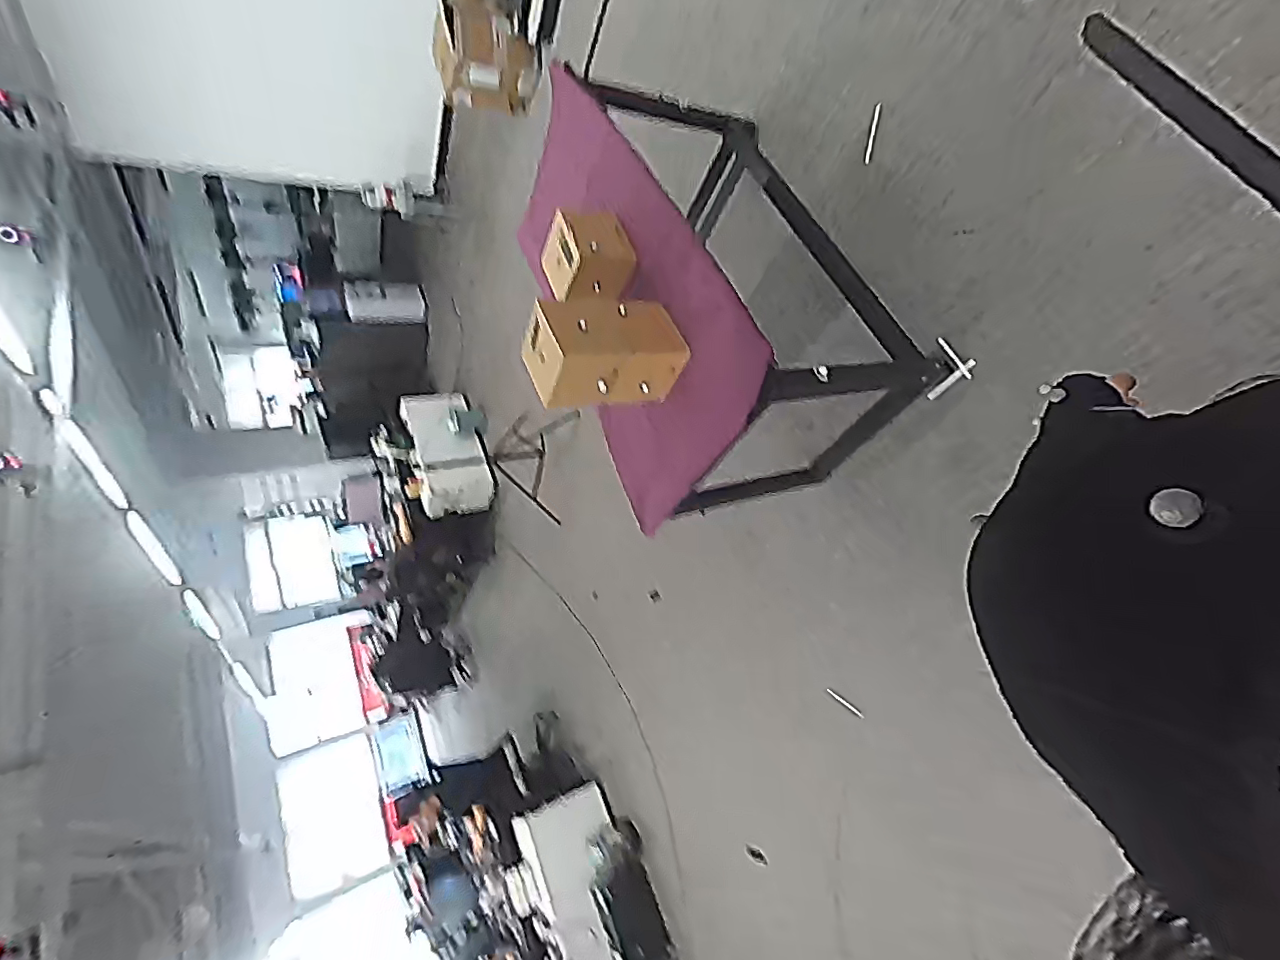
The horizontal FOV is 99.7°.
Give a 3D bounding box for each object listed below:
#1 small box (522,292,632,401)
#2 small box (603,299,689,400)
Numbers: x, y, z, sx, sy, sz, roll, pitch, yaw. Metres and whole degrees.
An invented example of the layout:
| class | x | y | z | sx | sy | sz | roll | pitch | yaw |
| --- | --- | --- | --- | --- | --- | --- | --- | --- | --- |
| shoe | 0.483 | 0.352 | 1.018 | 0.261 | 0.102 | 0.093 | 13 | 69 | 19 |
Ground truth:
| class | x | y | z | sx | sy | sz | roll | pitch | yaw |
| --- | --- | --- | --- | --- | --- | --- | --- | --- | --- |
| small box | -0.144 | -0.297 | 1.215 | 0.179 | 0.176 | 0.168 | 63 | 145 | 24 |
| small box | -0.007 | -0.318 | 1.304 | 0.179 | 0.176 | 0.168 | 64 | 145 | 24 |
